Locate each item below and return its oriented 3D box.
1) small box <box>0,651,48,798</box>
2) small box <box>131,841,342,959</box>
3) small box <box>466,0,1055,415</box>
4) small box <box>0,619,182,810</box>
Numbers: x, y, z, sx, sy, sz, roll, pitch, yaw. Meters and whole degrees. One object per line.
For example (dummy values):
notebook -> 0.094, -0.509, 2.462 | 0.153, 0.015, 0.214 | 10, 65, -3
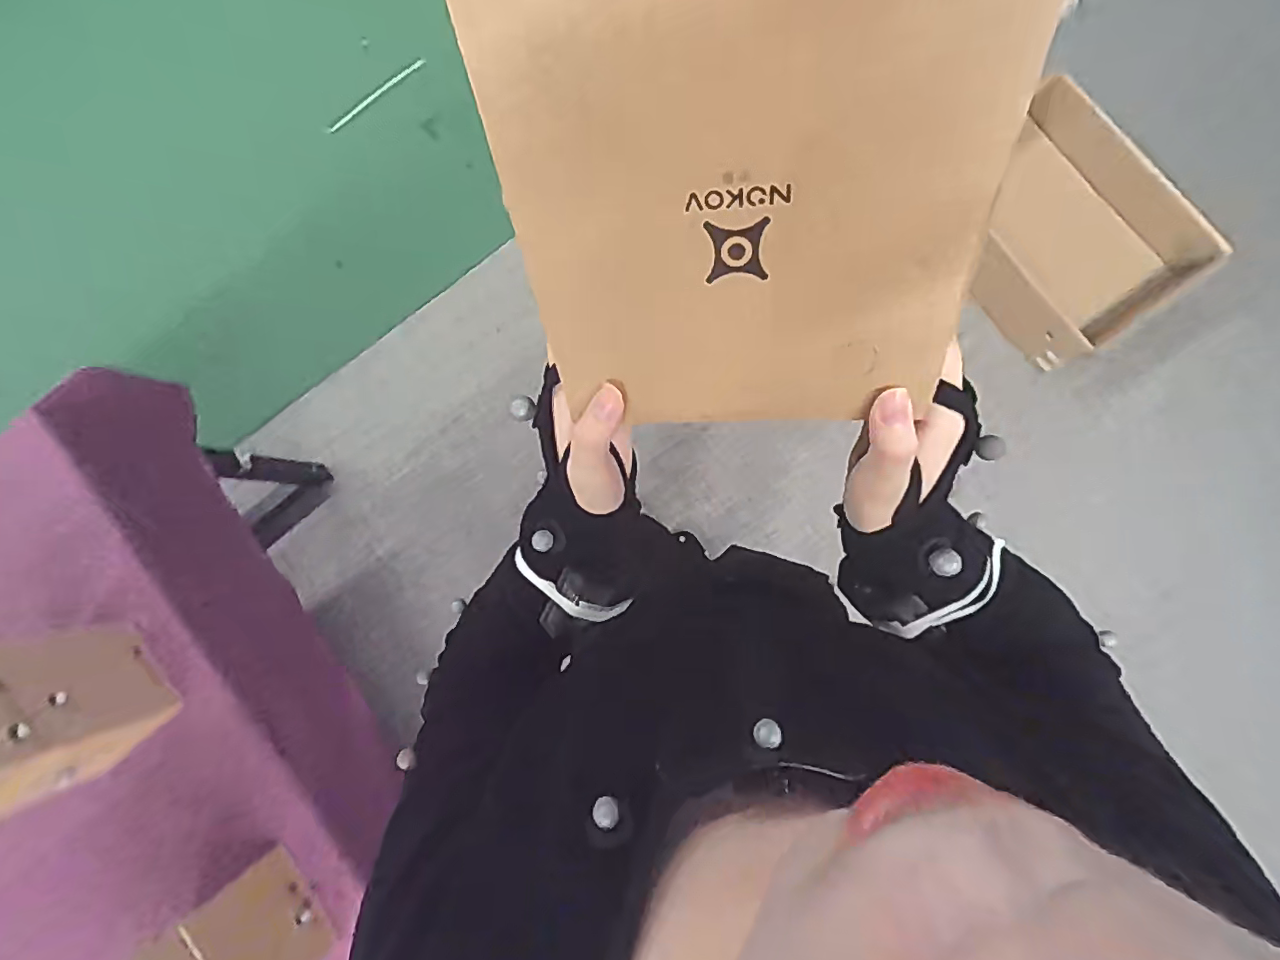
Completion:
small box -> -0.839, 0.315, 0.604 | 0.179, 0.176, 0.168 | -41, 84, 2
small box -> -0.552, 0.645, 0.724 | 0.179, 0.176, 0.168 | -39, 85, 1
small box -> 0.050, -0.151, 0.253 | 0.168, 0.179, 0.176 | 2, 48, 11
small box -> -0.822, 0.326, 0.767 | 0.179, 0.176, 0.168 | -40, 85, 2
